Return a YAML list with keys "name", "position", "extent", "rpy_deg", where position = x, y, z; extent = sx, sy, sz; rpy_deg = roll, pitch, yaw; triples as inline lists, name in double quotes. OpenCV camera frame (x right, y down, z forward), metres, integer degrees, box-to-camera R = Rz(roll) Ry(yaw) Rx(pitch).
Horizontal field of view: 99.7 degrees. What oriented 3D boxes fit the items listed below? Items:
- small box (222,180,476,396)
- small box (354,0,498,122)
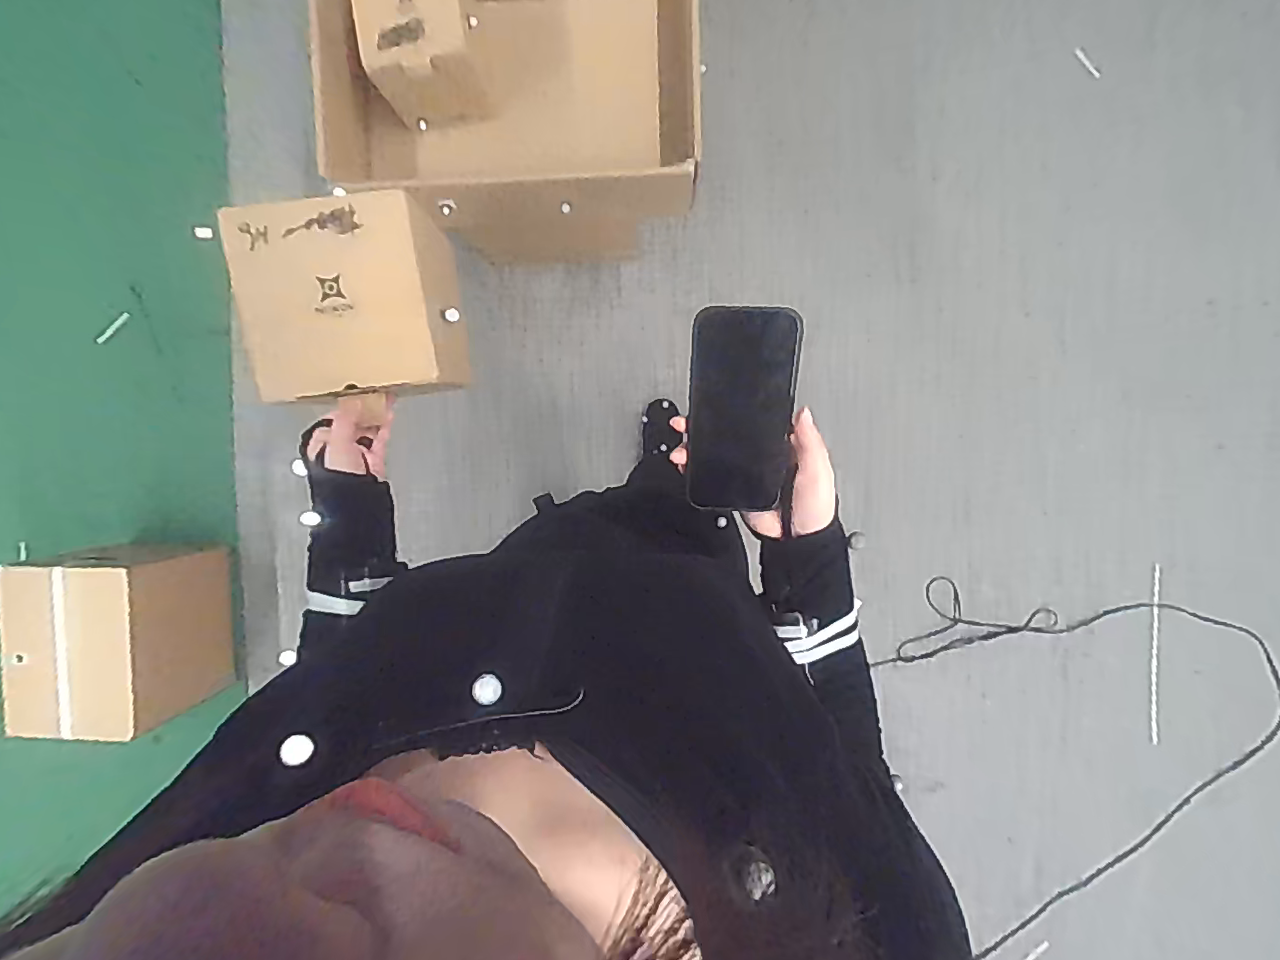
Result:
- name: "small box"
  position: [-0.285, -0.189, 0.575]
  extent: [0.168, 0.176, 0.179]
  rpy_deg: [-9, 99, -3]
- name: "small box"
  position: [-0.348, -0.731, 0.898]
  extent: [0.168, 0.176, 0.179]
  rpy_deg: [-8, 92, 3]
